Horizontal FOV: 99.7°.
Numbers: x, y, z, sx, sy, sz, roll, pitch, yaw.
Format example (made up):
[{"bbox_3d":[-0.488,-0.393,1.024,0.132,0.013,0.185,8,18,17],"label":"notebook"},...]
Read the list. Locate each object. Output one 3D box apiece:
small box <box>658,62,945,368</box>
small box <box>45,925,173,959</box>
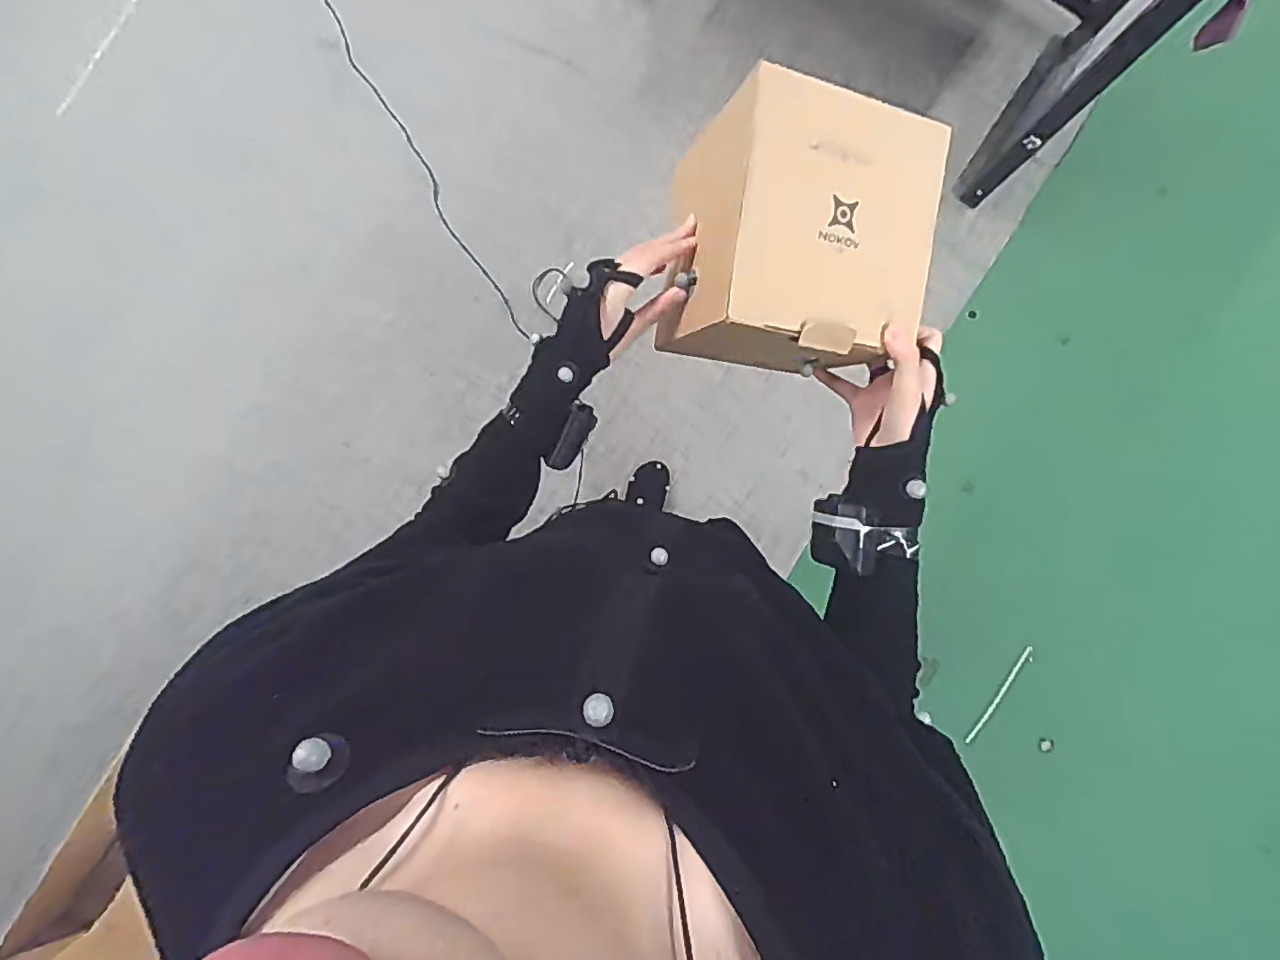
[{"bbox_3d":[0.123,-0.201,0.475,0.168,0.176,0.179,7,94,-18],"label":"small box"},{"bbox_3d":[-0.897,0.859,0.846,0.179,0.176,0.168,27,88,0],"label":"small box"}]
